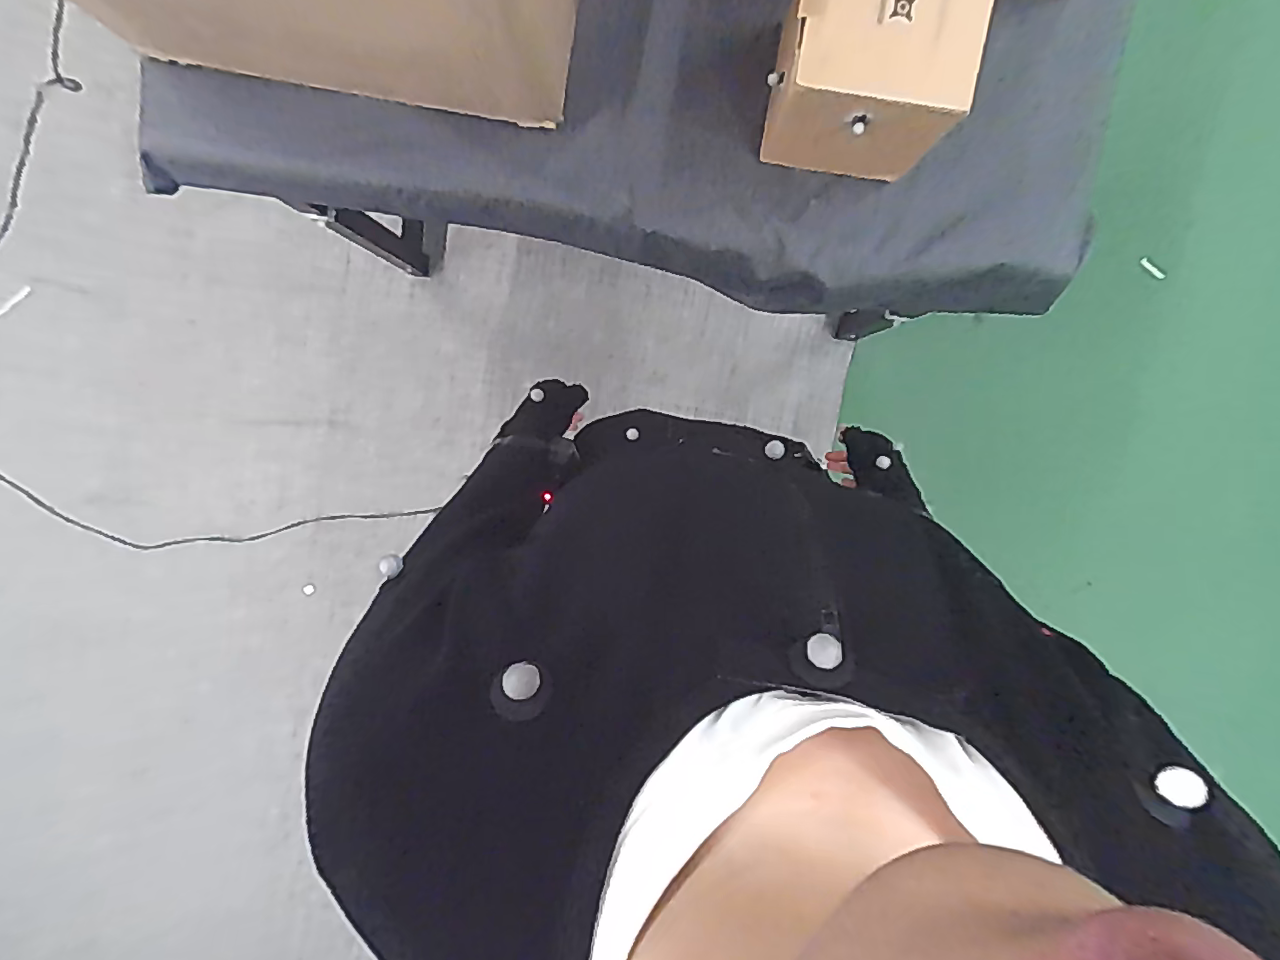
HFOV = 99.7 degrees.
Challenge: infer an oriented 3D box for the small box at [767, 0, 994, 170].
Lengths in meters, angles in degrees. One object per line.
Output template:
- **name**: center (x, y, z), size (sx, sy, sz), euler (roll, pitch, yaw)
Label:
- **small box**: center (0.251, -0.469, 0.595), size (0.179, 0.176, 0.168), euler (9, 99, -1)
